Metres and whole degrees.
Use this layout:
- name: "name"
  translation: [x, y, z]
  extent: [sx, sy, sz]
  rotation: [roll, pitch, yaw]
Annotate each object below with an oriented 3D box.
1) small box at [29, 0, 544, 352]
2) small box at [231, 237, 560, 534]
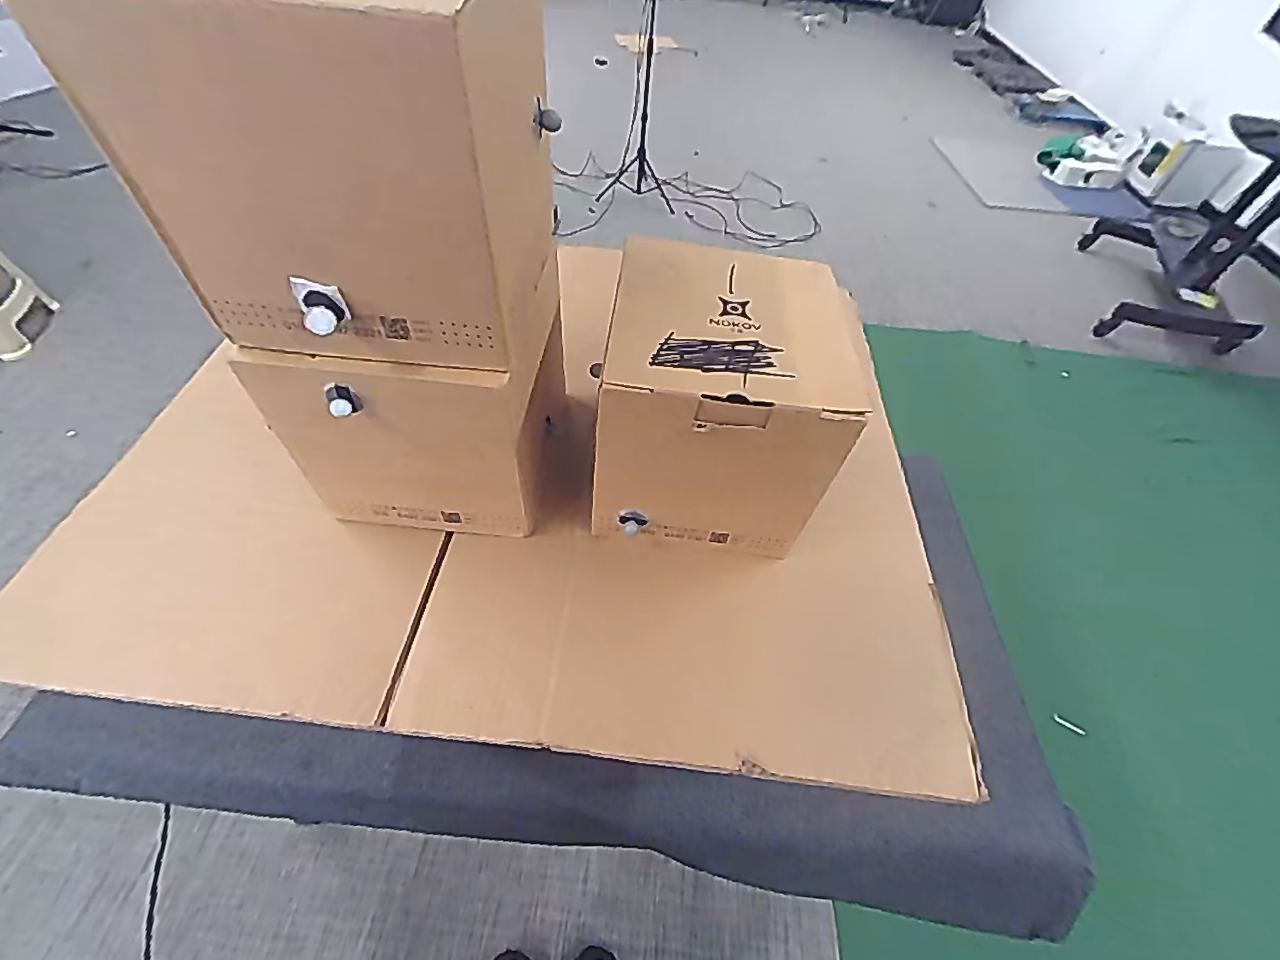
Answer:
- name: "small box"
  translation: [-0.149, -0.196, 0.297]
  extent: [0.168, 0.176, 0.179]
  rotation: [3, 53, -1]
- name: "small box"
  translation: [-0.160, -0.080, 0.432]
  extent: [0.168, 0.176, 0.179]
  rotation: [5, 51, 1]
